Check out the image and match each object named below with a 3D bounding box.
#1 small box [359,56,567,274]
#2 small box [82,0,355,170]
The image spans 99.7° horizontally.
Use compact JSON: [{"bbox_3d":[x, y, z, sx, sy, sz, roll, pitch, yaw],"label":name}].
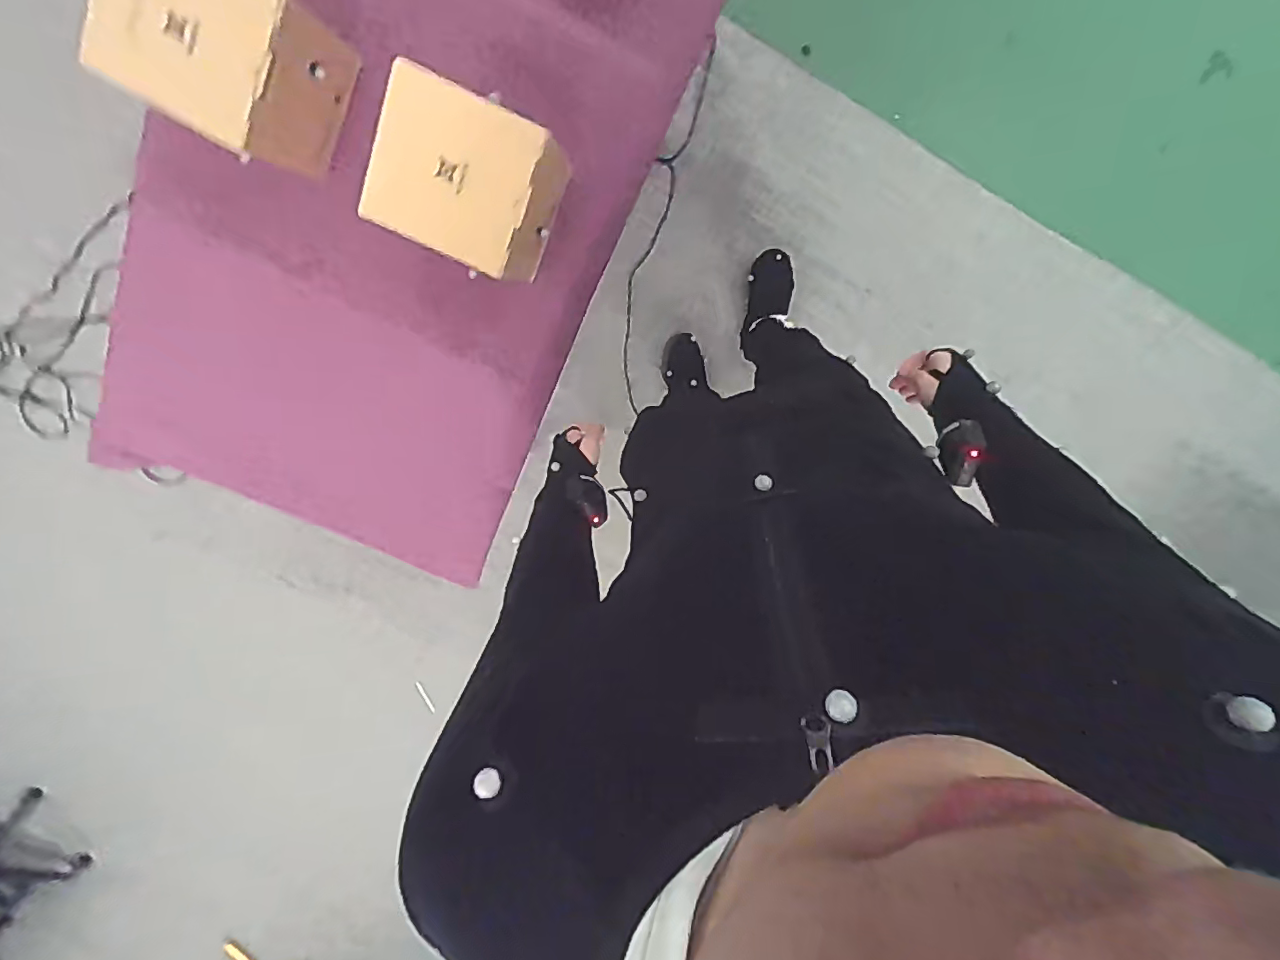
[{"bbox_3d":[-0.209,-0.371,0.678,0.179,0.176,0.168,23,107,-7],"label":"small box"},{"bbox_3d":[-0.475,-0.496,0.637,0.179,0.176,0.168,28,106,-9],"label":"small box"}]
